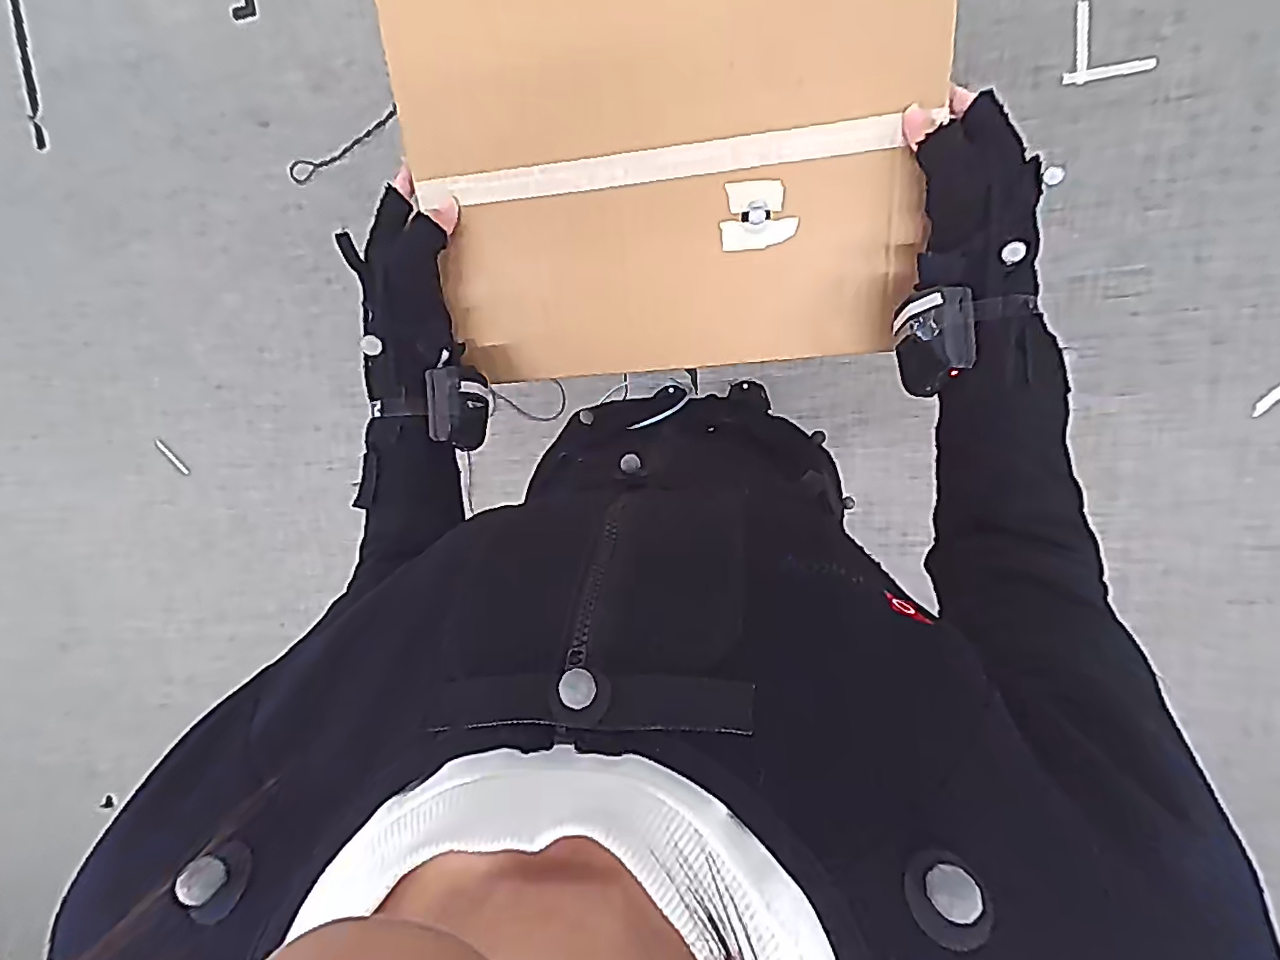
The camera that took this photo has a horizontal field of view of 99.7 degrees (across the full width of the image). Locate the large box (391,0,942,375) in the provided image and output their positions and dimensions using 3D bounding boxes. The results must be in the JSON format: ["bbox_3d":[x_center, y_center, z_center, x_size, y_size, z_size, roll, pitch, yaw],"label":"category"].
[{"bbox_3d":[0.034,-0.305,0.564,0.408,0.320,0.320,-4,111,6],"label":"large box"}]
